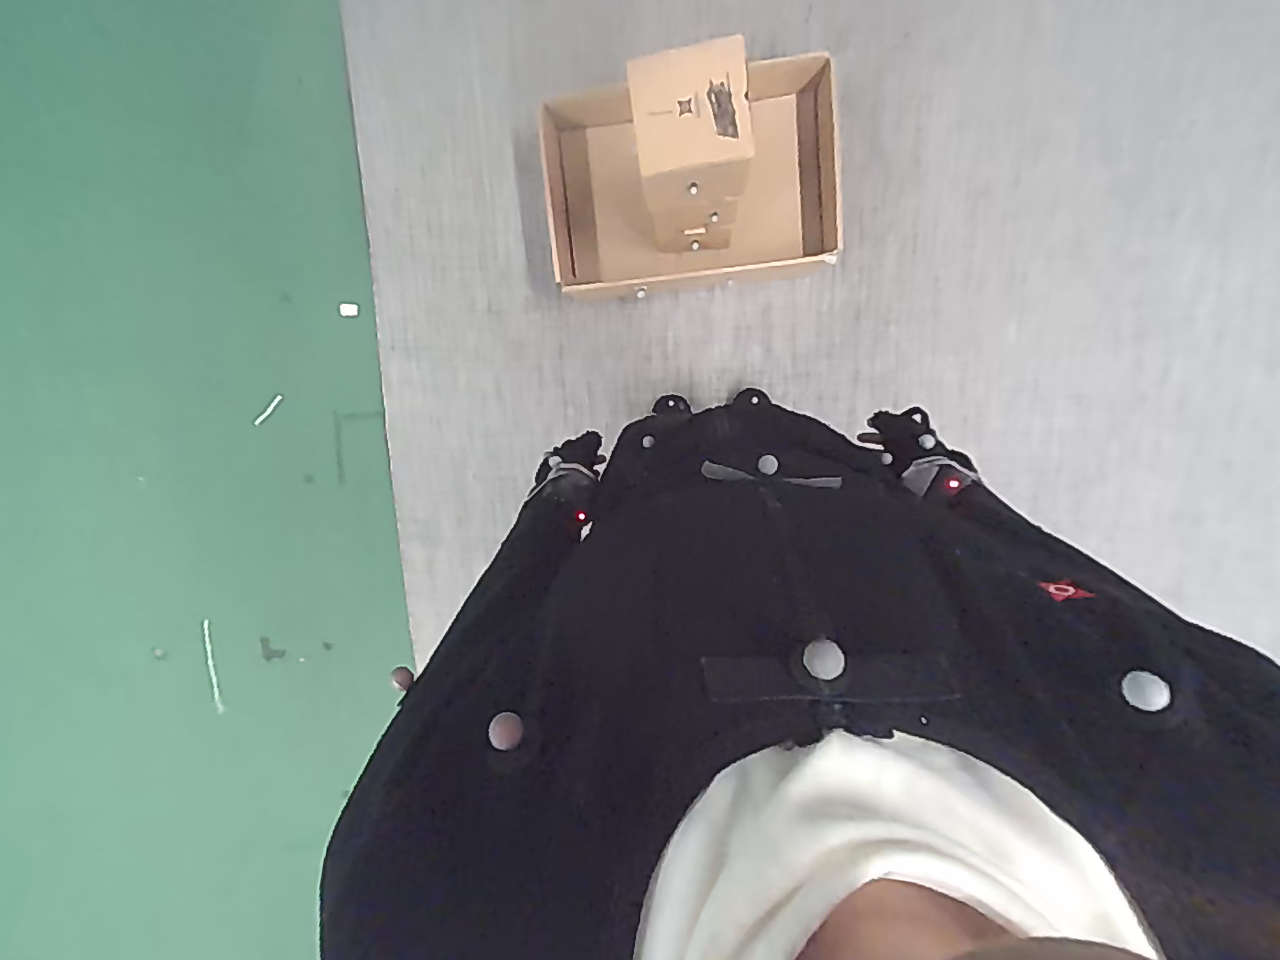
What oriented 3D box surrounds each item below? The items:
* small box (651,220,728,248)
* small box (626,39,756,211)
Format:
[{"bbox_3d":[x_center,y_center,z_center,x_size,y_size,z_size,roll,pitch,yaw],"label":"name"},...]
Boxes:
[{"bbox_3d":[0.112,-0.625,1.203,0.168,0.176,0.179,-1,100,6],"label":"small box"},{"bbox_3d":[0.081,-0.564,0.885,0.179,0.176,0.168,-10,99,6],"label":"small box"}]
